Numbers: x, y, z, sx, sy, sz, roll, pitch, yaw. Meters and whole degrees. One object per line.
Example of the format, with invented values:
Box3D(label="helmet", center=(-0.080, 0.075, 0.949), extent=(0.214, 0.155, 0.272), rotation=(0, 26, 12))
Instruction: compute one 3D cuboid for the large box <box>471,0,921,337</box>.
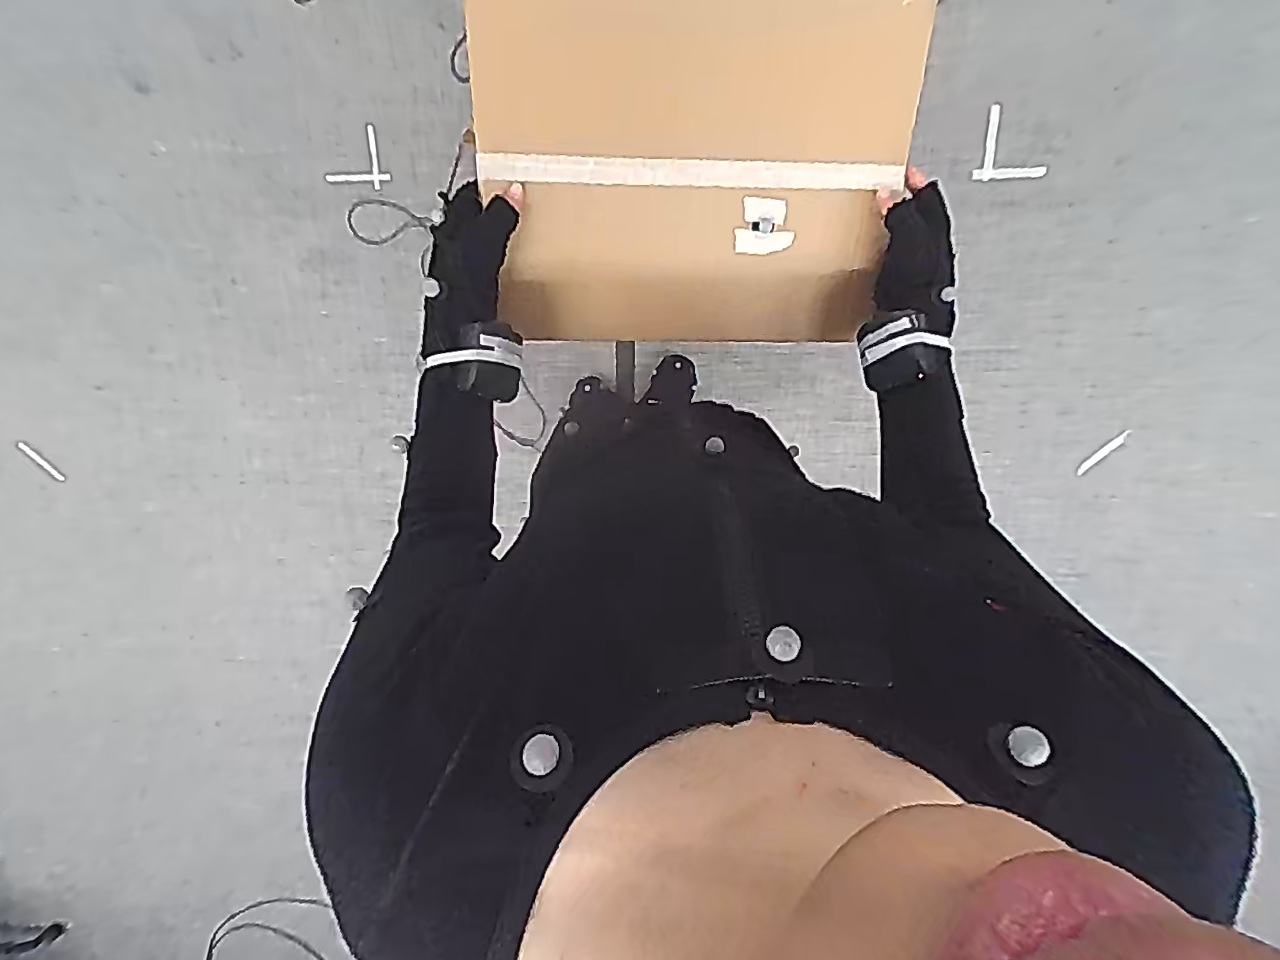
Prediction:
Box3D(label="large box", center=(0.039, -0.359, 0.657), extent=(0.408, 0.320, 0.320), rotation=(-2, 115, -6))
